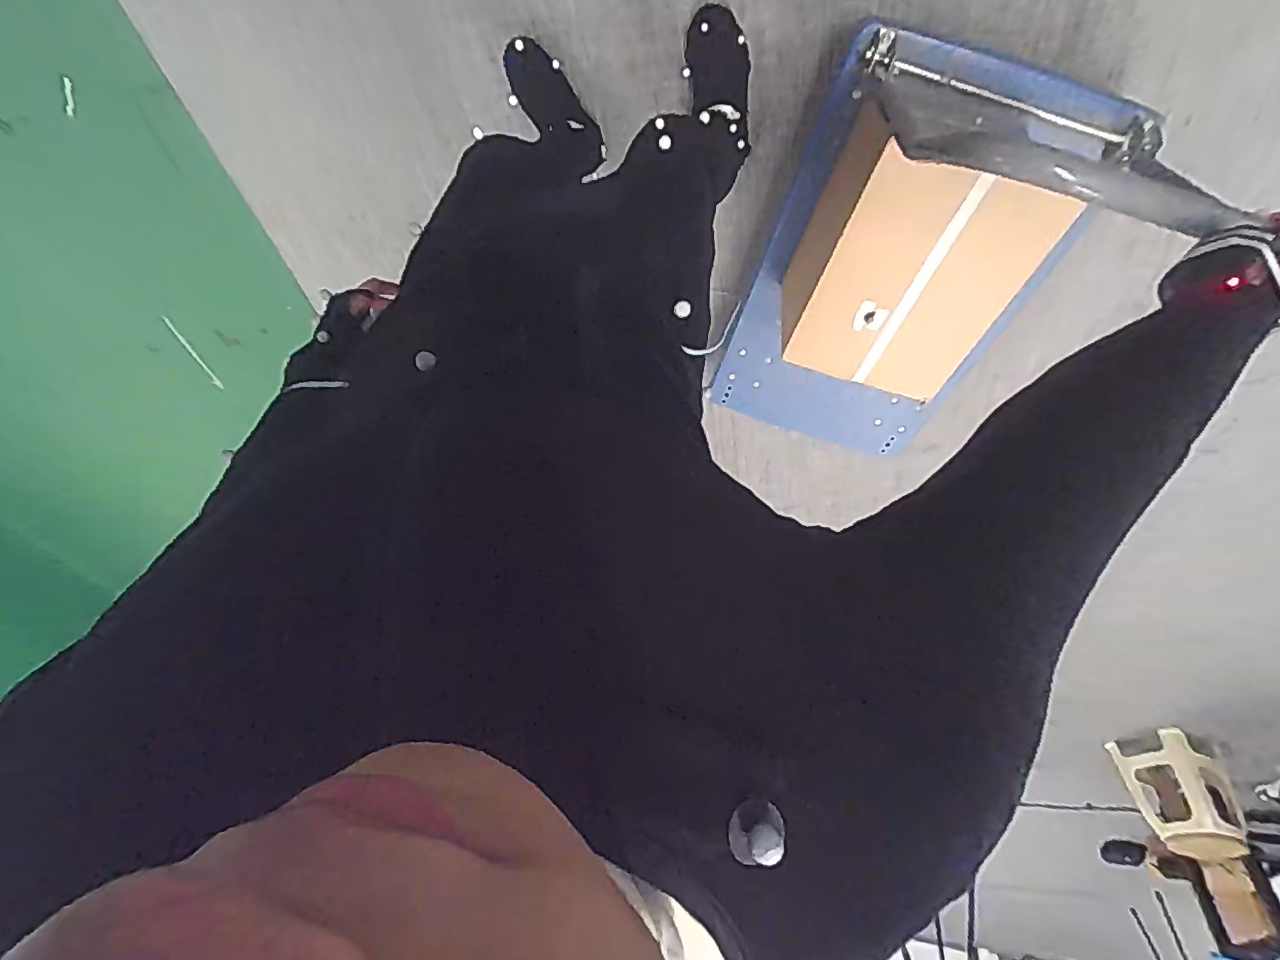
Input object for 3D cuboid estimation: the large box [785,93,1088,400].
[{"bbox_3d":[0.499,-0.433,1.026,0.320,0.320,0.408,17,137,-2],"label":"large box"}]
